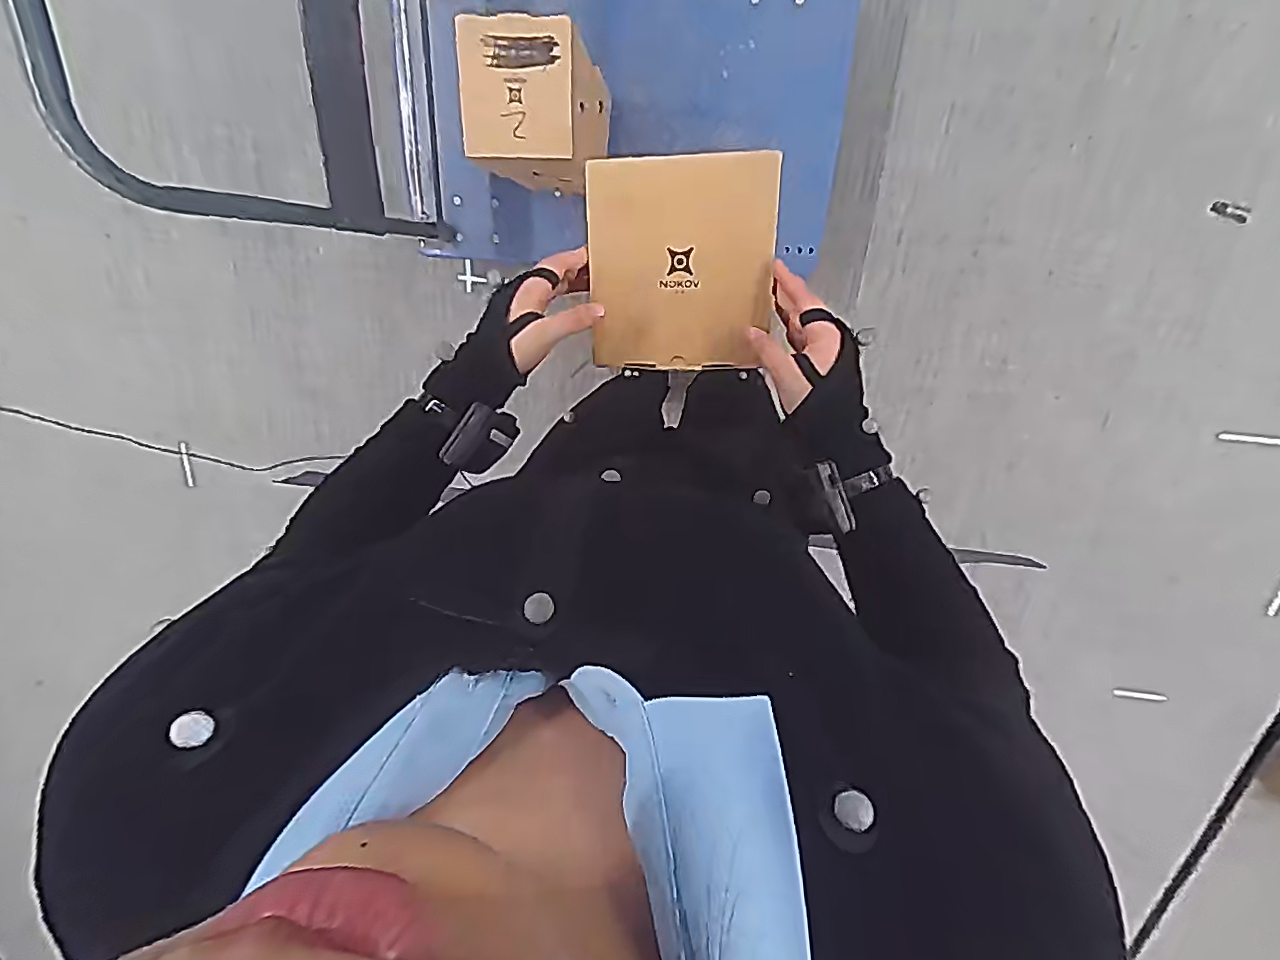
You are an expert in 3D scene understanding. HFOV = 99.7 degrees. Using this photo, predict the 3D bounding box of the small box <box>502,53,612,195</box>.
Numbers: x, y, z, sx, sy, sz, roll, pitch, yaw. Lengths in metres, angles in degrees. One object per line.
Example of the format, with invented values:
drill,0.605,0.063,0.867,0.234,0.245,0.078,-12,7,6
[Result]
small box,-0.146,-0.643,0.996,0.168,0.176,0.179,8,111,2
